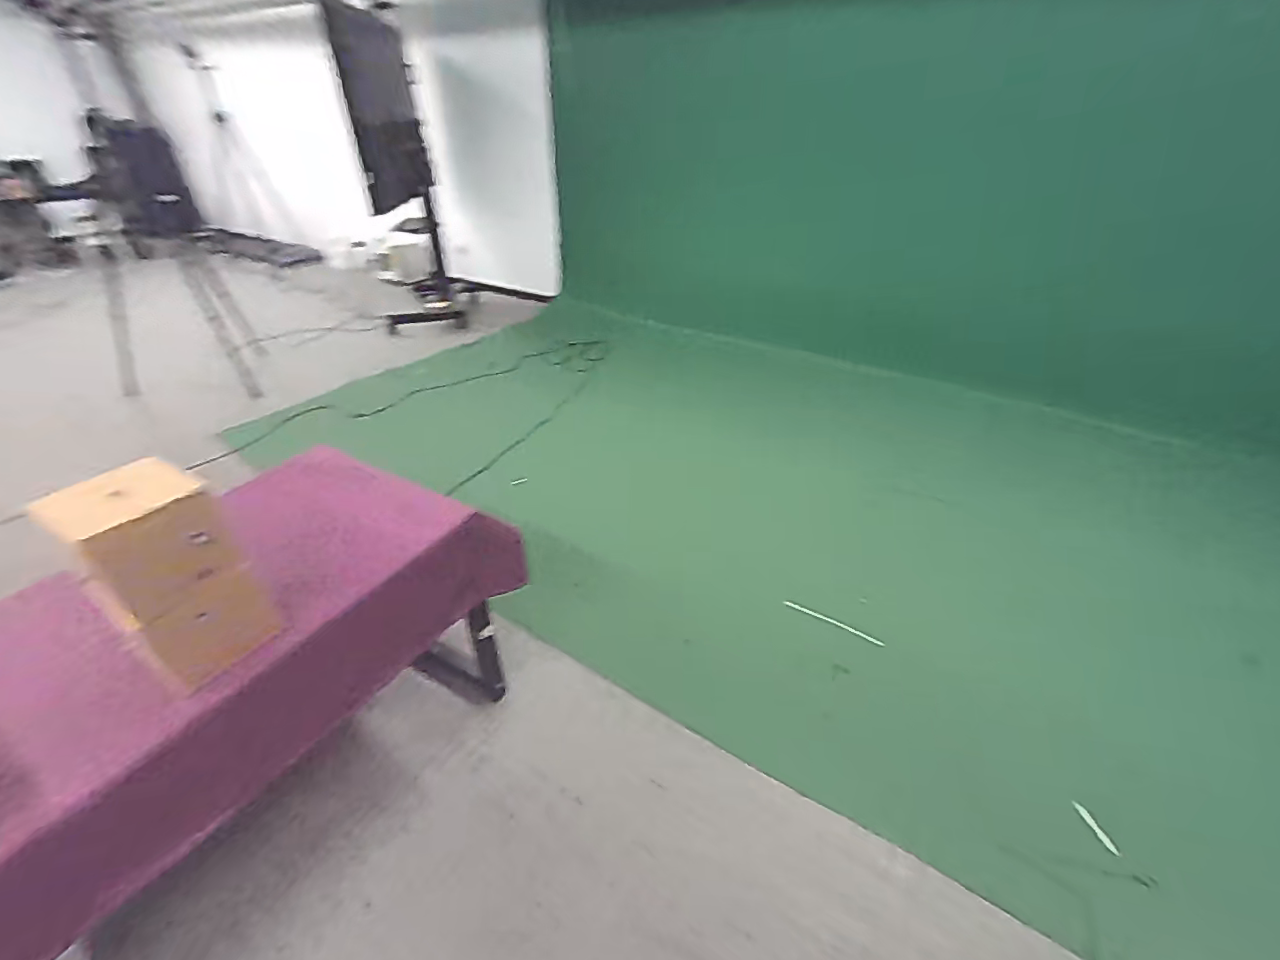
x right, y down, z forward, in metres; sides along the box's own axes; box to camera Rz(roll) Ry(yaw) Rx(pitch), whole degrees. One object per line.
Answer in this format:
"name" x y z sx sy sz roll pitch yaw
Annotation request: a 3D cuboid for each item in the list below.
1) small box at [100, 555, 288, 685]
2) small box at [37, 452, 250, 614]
"small box" -0.768 0.221 0.948 0.168 0.176 0.179 21 39 26
"small box" -0.771 0.084 0.859 0.179 0.176 0.168 18 37 25
